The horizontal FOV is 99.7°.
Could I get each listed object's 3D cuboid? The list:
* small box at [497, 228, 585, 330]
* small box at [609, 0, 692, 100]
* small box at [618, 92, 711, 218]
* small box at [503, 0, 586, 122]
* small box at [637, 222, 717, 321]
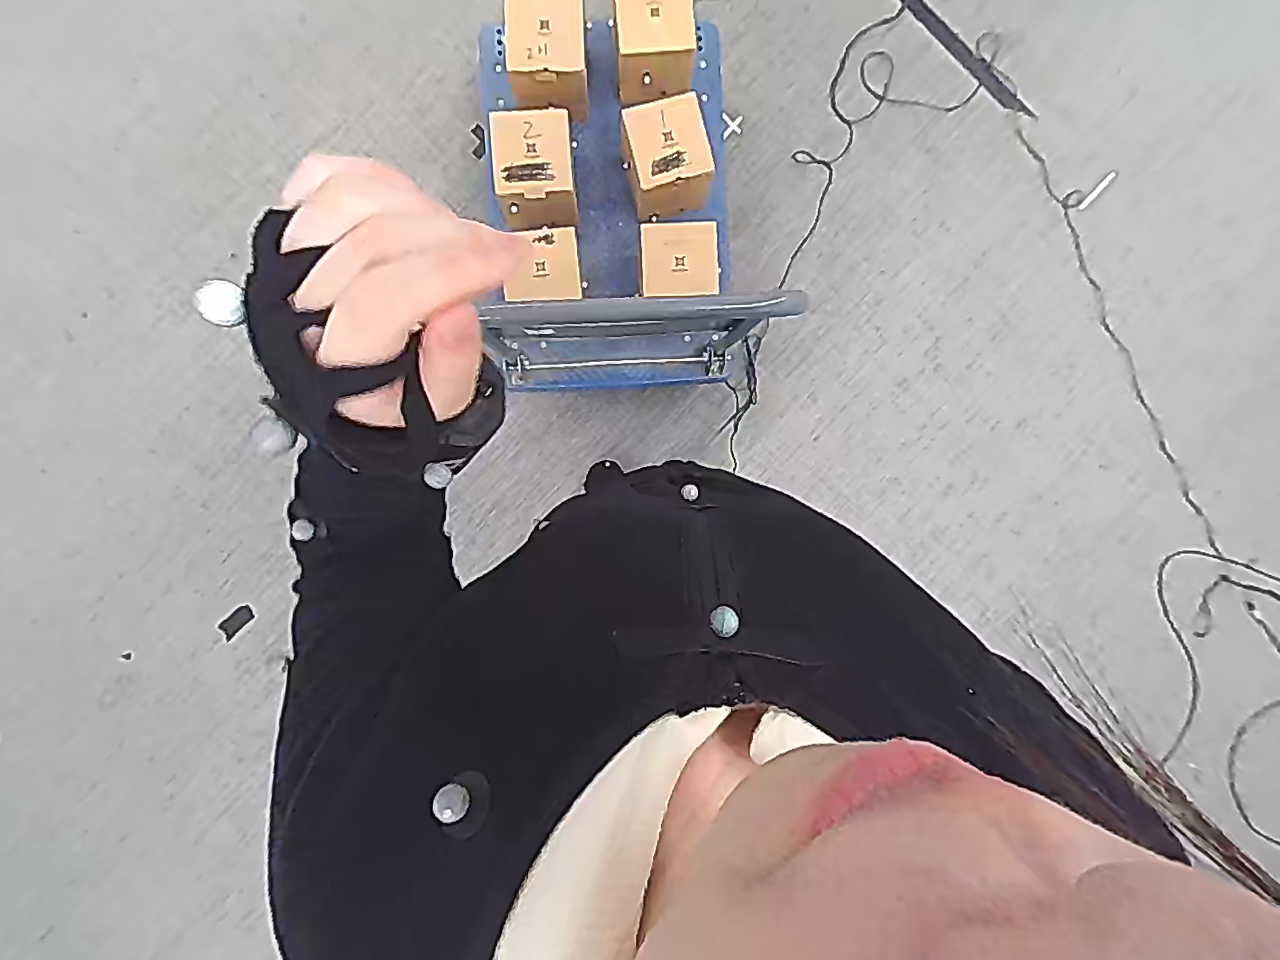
[{"bbox_3d":[-0.217,-0.446,1.228,0.168,0.176,0.179,-7,93,-3],"label":"small box"},{"bbox_3d":[0.020,-0.996,1.223,0.168,0.176,0.179,-6,92,-2],"label":"small box"},{"bbox_3d":[0.053,-0.725,1.231,0.168,0.176,0.179,-16,91,-2],"label":"small box"},{"bbox_3d":[-0.209,-0.945,1.212,0.168,0.176,0.179,-2,93,-2],"label":"small box"},{"bbox_3d":[0.080,-0.469,1.242,0.168,0.176,0.179,-3,91,-3],"label":"small box"}]
